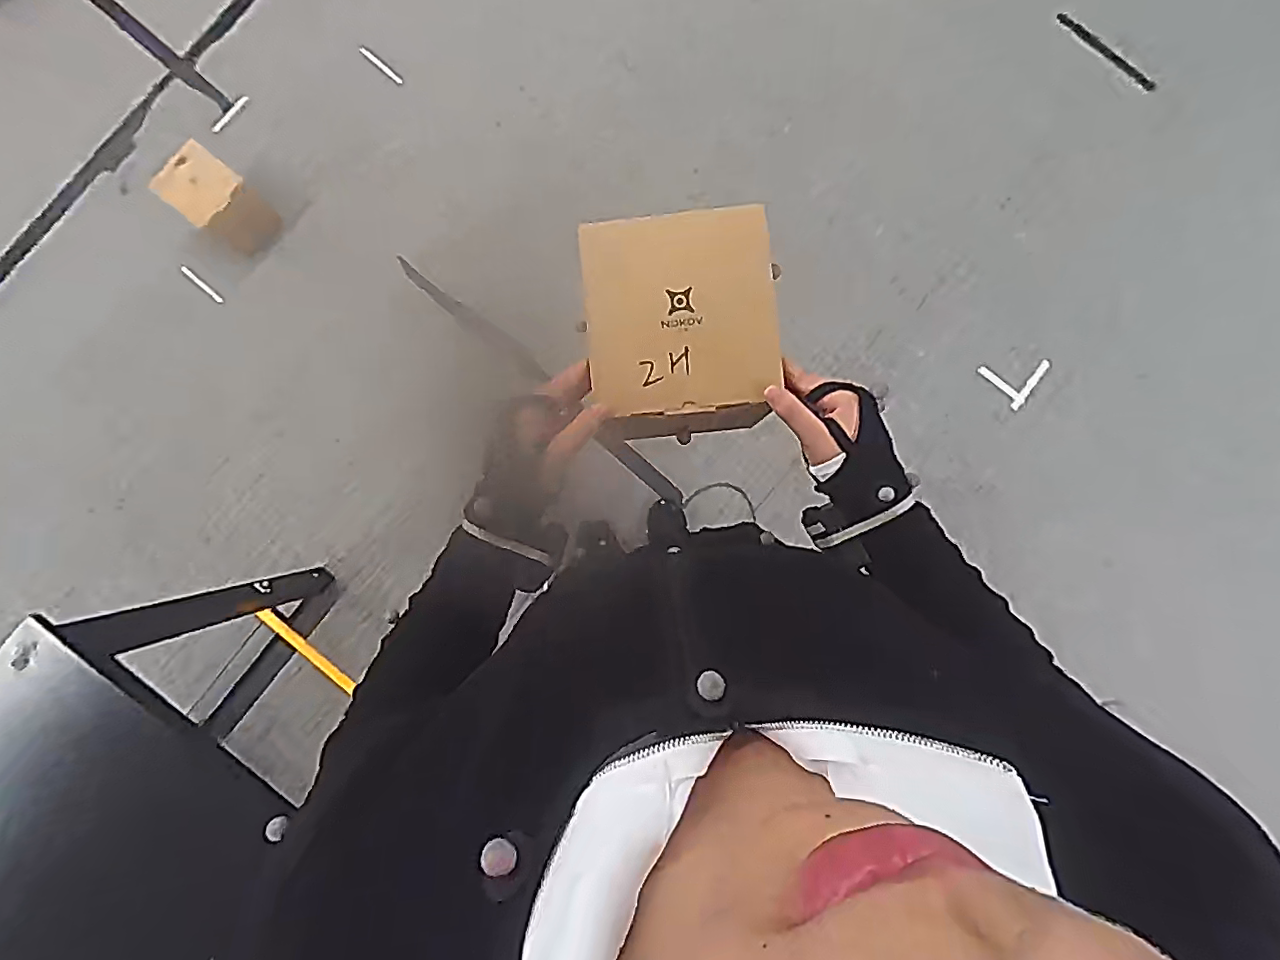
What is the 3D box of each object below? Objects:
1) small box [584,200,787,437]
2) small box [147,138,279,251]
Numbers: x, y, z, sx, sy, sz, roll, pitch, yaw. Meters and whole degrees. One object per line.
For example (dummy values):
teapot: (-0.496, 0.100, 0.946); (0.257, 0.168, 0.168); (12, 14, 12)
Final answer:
small box: (0.040, -0.146, 0.545); (0.168, 0.176, 0.179); (-5, 88, 2)
small box: (-1.112, -0.738, 1.426); (0.179, 0.176, 0.168); (39, 88, -1)
